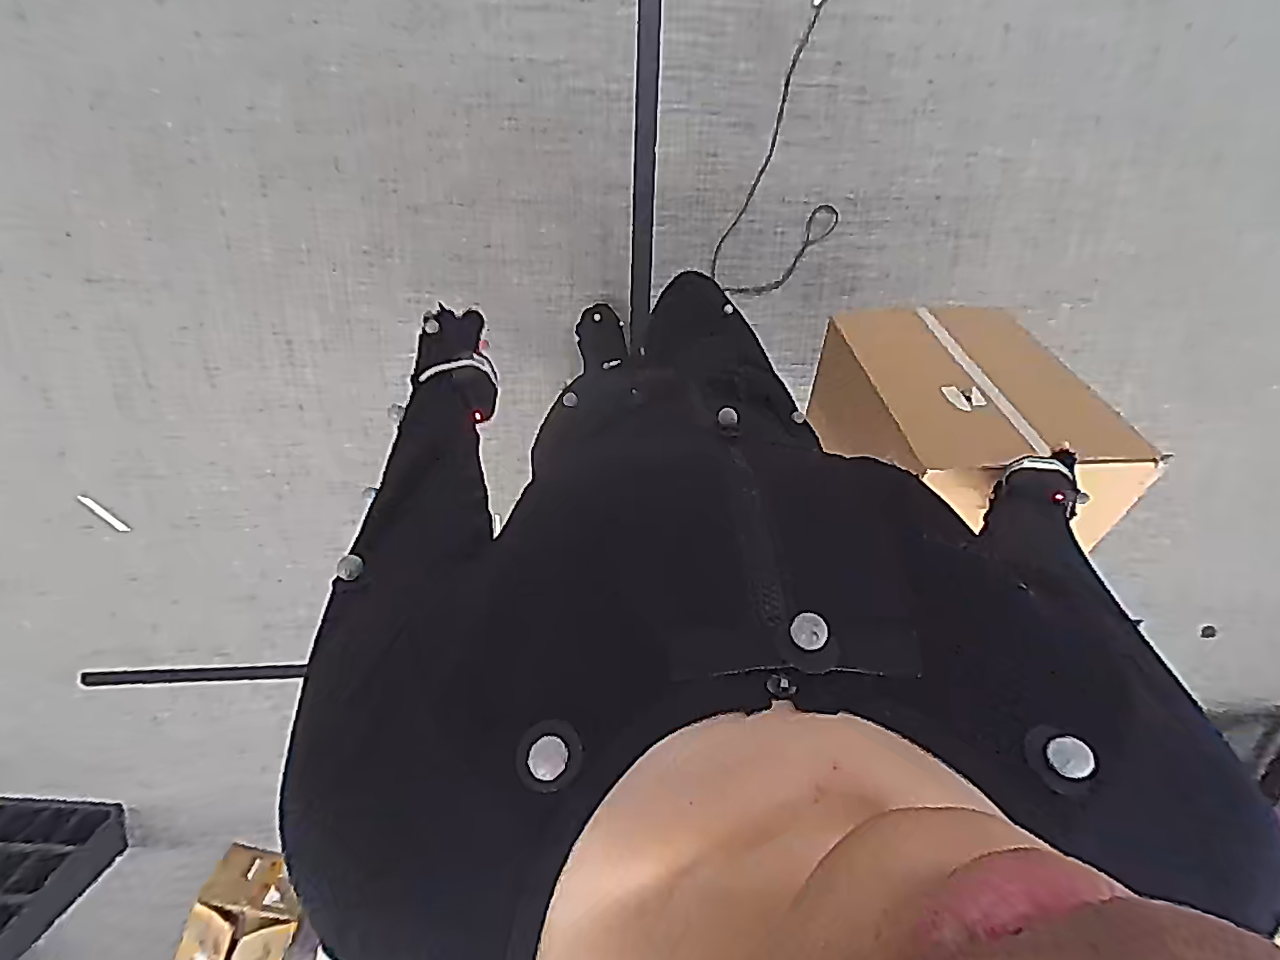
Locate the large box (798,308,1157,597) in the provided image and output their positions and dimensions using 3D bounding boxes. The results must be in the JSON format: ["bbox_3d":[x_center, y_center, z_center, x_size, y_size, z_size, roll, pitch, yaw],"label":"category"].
[{"bbox_3d":[0.503,-0.054,0.932,0.320,0.408,0.320,-3,137,-2],"label":"large box"}]
